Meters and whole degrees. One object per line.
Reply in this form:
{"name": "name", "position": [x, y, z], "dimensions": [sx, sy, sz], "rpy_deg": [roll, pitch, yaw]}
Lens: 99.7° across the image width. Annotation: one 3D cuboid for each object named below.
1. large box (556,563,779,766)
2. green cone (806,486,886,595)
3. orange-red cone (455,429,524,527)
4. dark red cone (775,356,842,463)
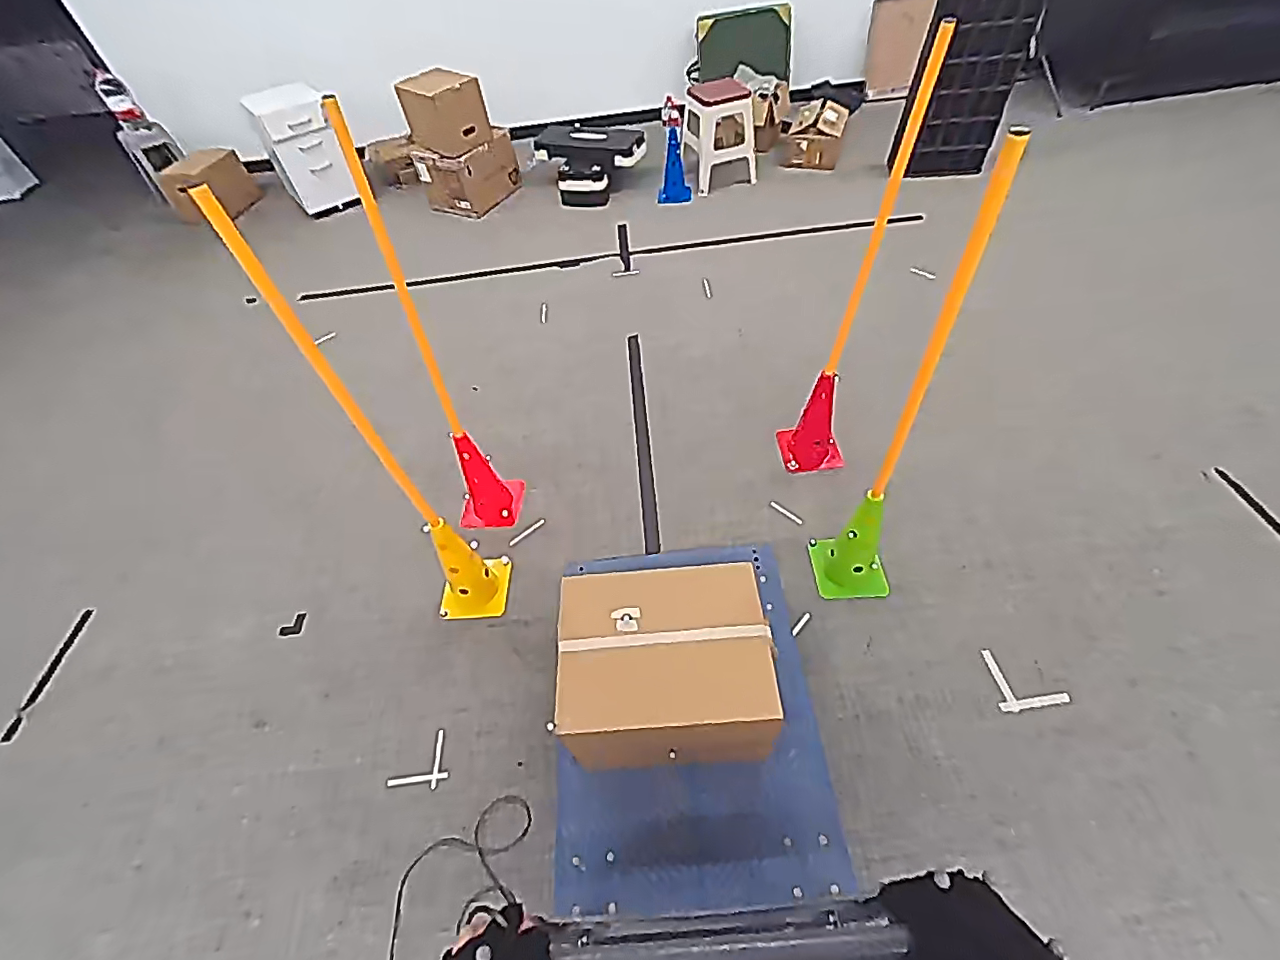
{"name": "large box", "position": [0.055, 0.404, 1.159], "dimensions": [0.408, 0.320, 0.320], "rpy_deg": [-6, 51, 3]}
{"name": "green cone", "position": [0.605, 0.146, 1.494], "dimensions": [0.202, 0.368, 0.200], "rpy_deg": [-3, 51, 2]}
{"name": "orange-red cone", "position": [-0.529, -0.029, 1.764], "dimensions": [0.198, 0.360, 0.199], "rpy_deg": [0, 50, 5]}
{"name": "dark red cone", "position": [0.585, -0.240, 1.788], "dimensions": [0.201, 0.394, 0.202], "rpy_deg": [-5, 51, -1]}
